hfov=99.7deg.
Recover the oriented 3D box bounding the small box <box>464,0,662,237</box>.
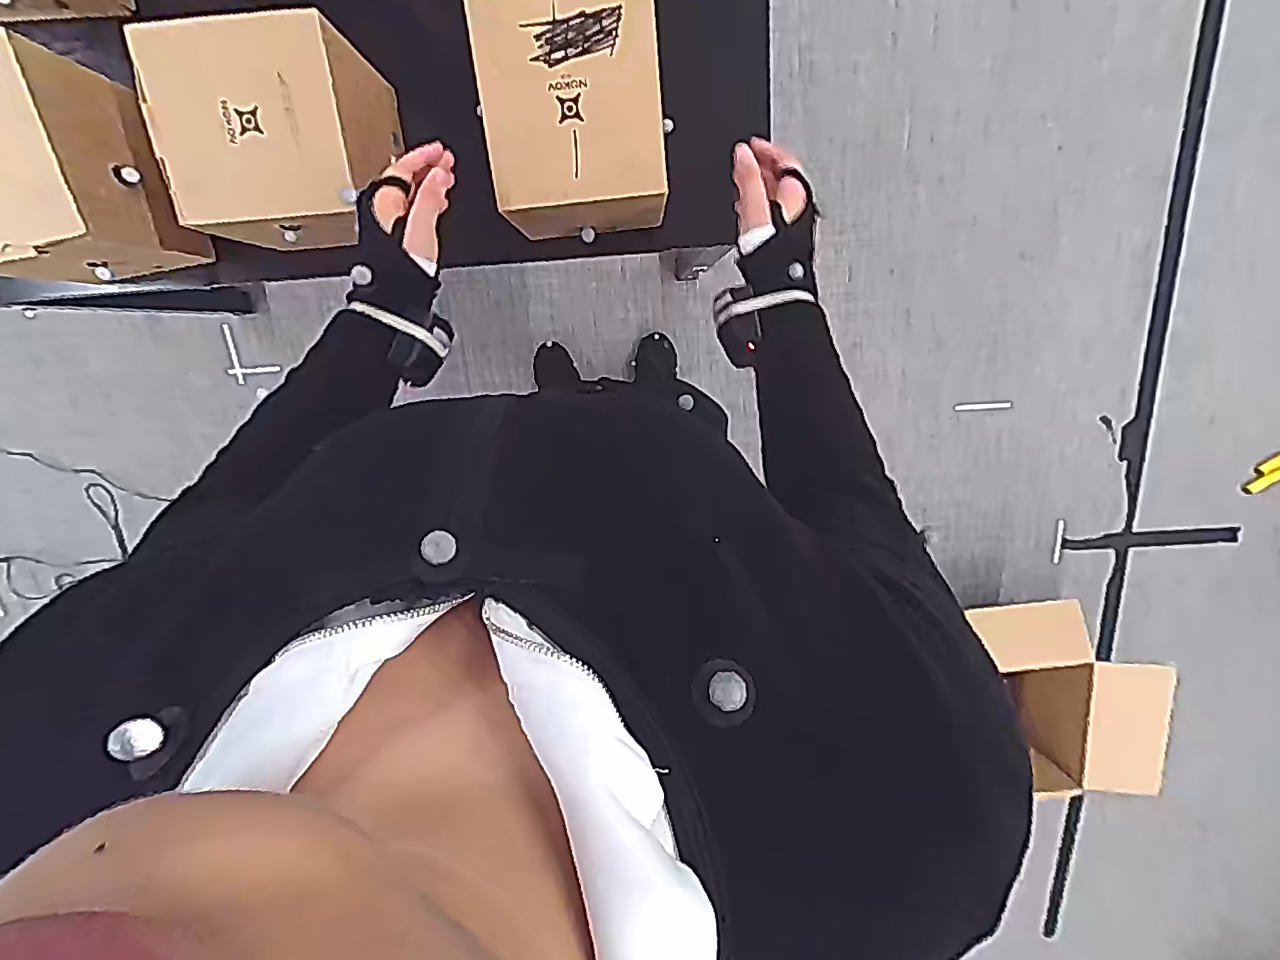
[{"bbox_3d":[-0.068,-0.371,0.571,0.168,0.176,0.179,-5,105,1],"label":"small box"}]

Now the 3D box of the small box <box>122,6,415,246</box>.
[{"bbox_3d":[-0.367,-0.353,0.573,0.179,0.176,0.168,-5,105,-1],"label":"small box"}]

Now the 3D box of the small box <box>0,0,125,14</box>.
[{"bbox_3d":[-0.652,-0.585,0.504,0.168,0.176,0.179,-3,106,0],"label":"small box"}]

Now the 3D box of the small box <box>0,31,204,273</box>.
[{"bbox_3d":[-0.623,-0.325,0.574,0.168,0.176,0.179,-10,105,2],"label":"small box"}]
